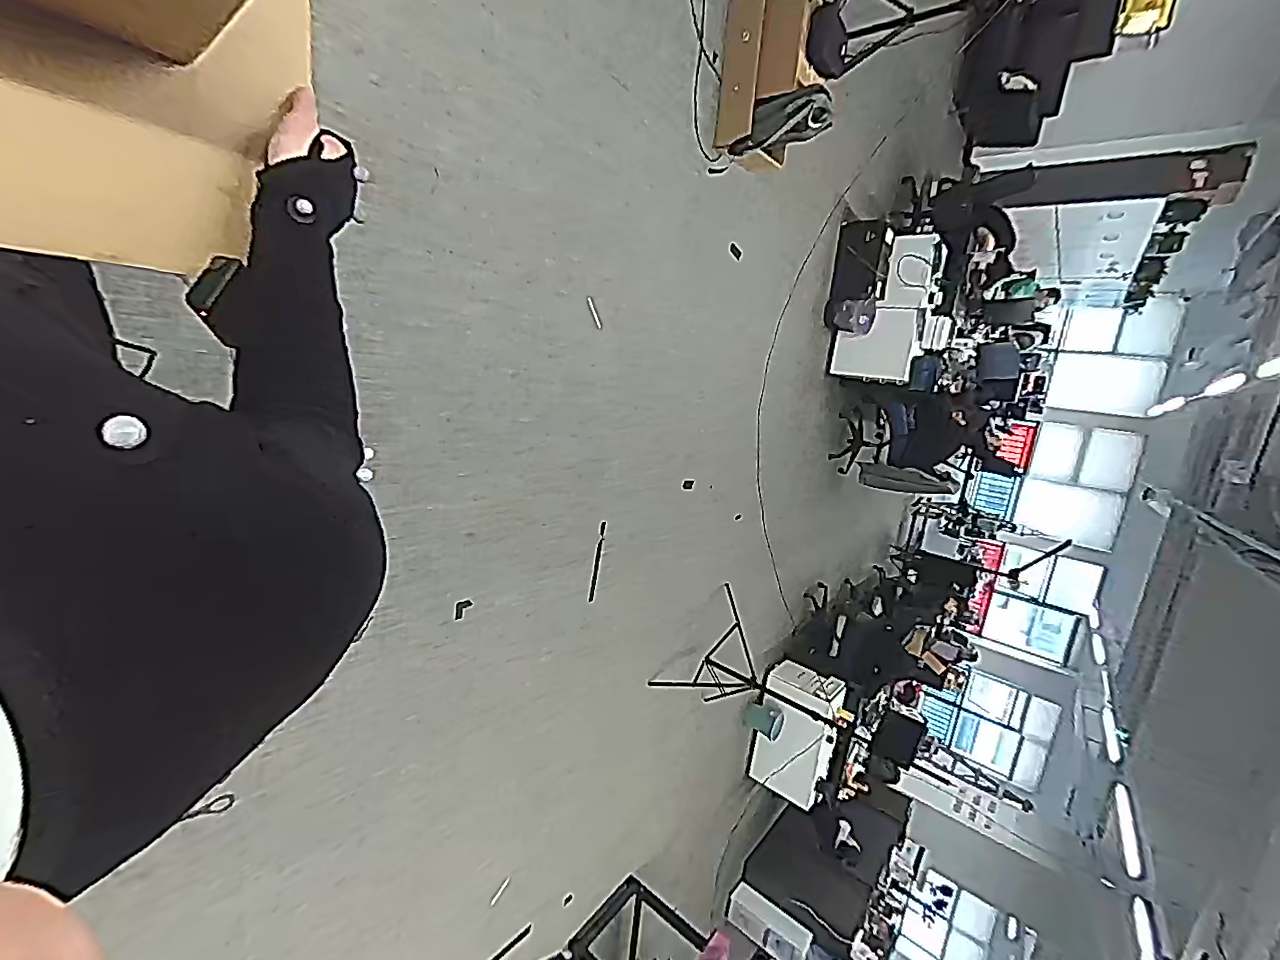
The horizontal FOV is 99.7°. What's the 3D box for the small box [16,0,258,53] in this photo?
[{"bbox_3d":[-0.363,-0.402,0.329,0.179,0.176,0.168,-8,109,-48],"label":"small box"}]
